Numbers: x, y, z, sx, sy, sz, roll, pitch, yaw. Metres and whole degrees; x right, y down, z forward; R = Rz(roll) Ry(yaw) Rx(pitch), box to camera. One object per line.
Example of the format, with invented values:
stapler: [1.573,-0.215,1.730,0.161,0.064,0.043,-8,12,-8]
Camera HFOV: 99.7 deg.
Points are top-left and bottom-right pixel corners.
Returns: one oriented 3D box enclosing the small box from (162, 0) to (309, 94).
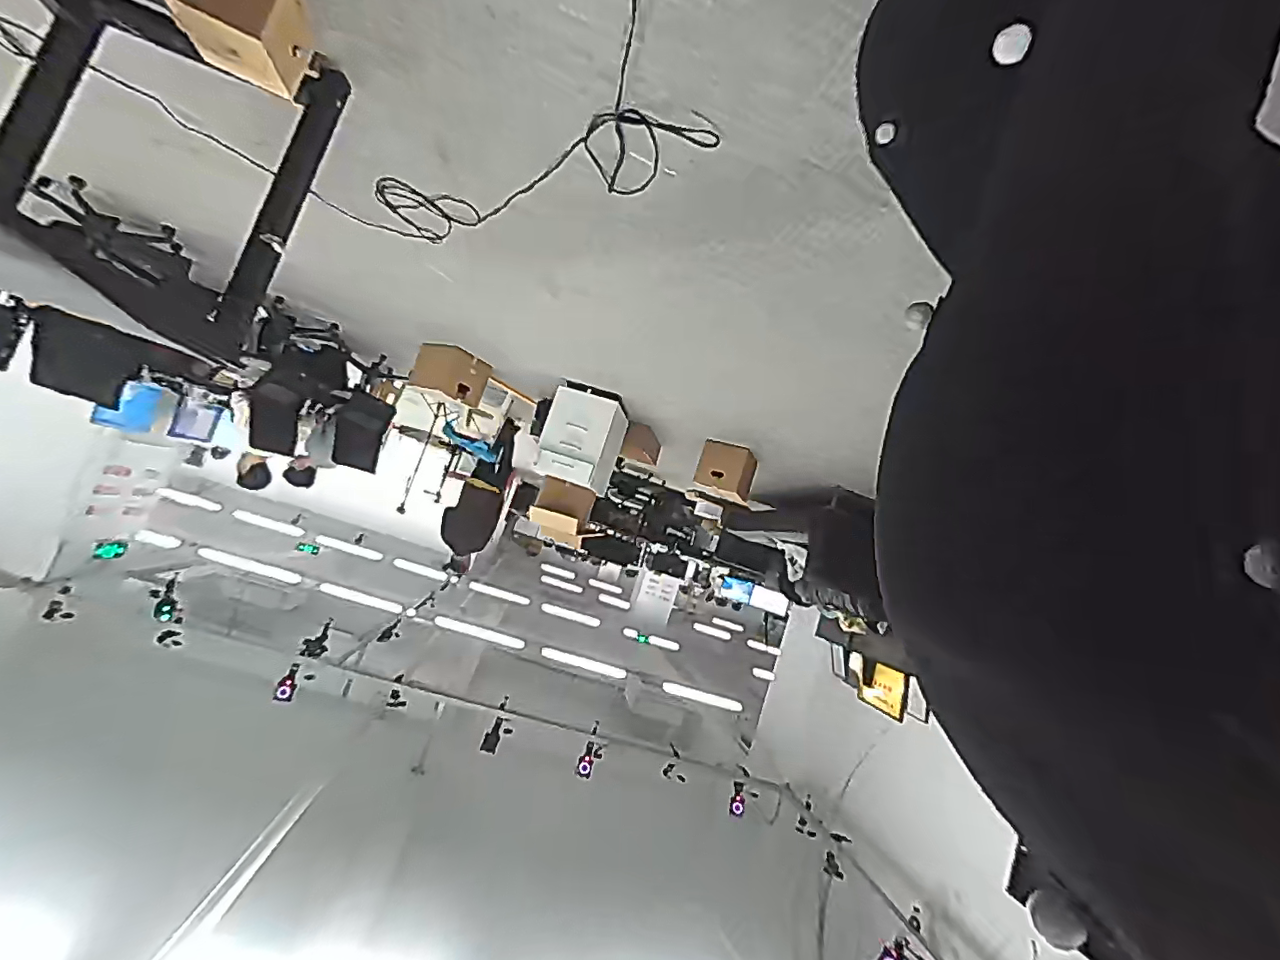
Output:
small box: [-0.777,-0.921,1.054,0.179,0.176,0.168,20,174,-13]
